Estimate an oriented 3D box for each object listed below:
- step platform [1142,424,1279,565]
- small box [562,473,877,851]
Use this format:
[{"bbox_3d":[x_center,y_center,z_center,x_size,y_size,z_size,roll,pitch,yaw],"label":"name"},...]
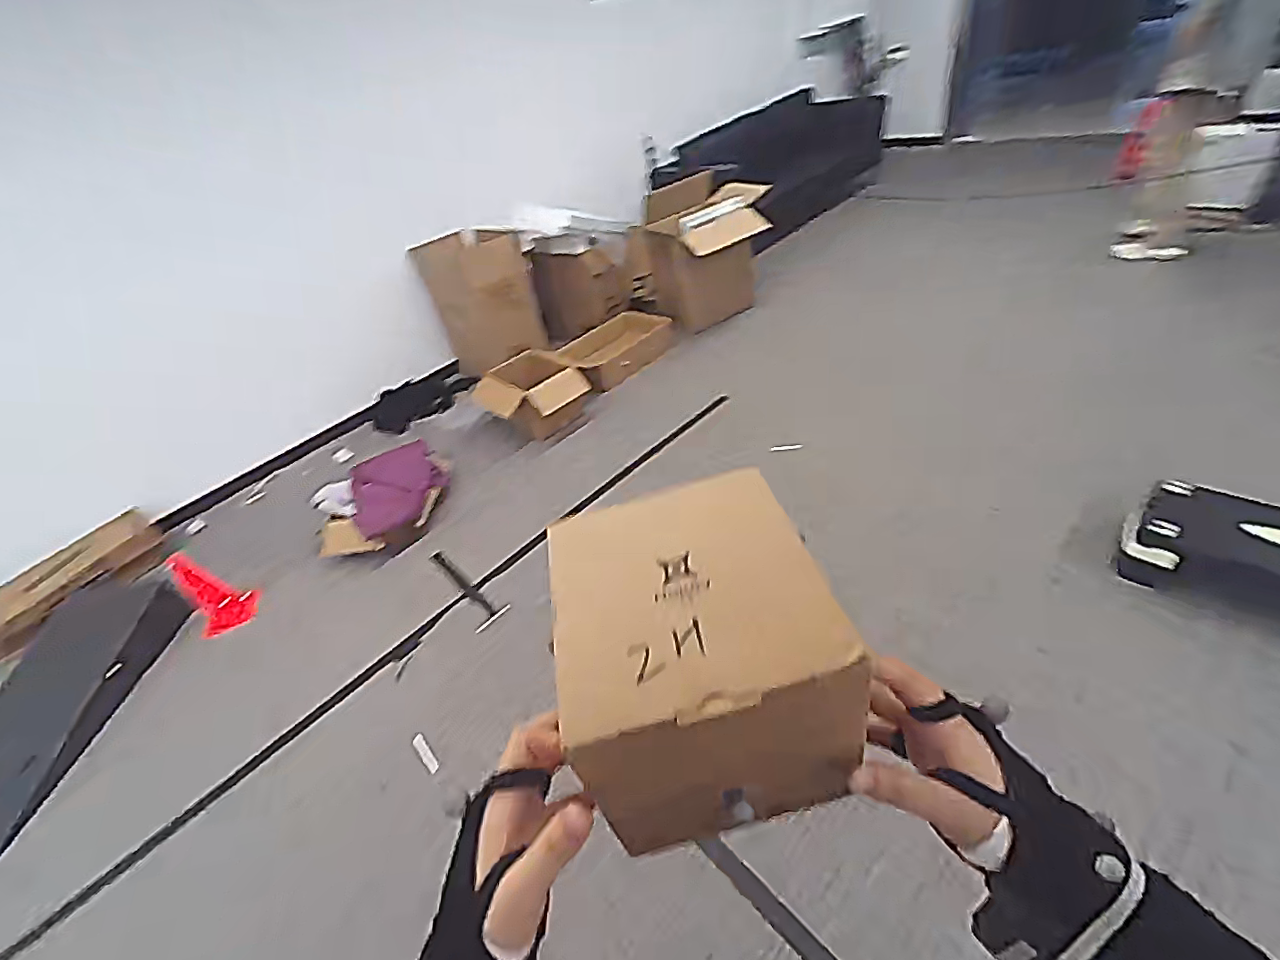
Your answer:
[{"bbox_3d":[1.673,0.086,1.295,0.684,0.204,0.286,25,53,38],"label":"step platform"},{"bbox_3d":[0.047,0.126,0.392,0.168,0.176,0.179,-16,37,0],"label":"small box"}]
